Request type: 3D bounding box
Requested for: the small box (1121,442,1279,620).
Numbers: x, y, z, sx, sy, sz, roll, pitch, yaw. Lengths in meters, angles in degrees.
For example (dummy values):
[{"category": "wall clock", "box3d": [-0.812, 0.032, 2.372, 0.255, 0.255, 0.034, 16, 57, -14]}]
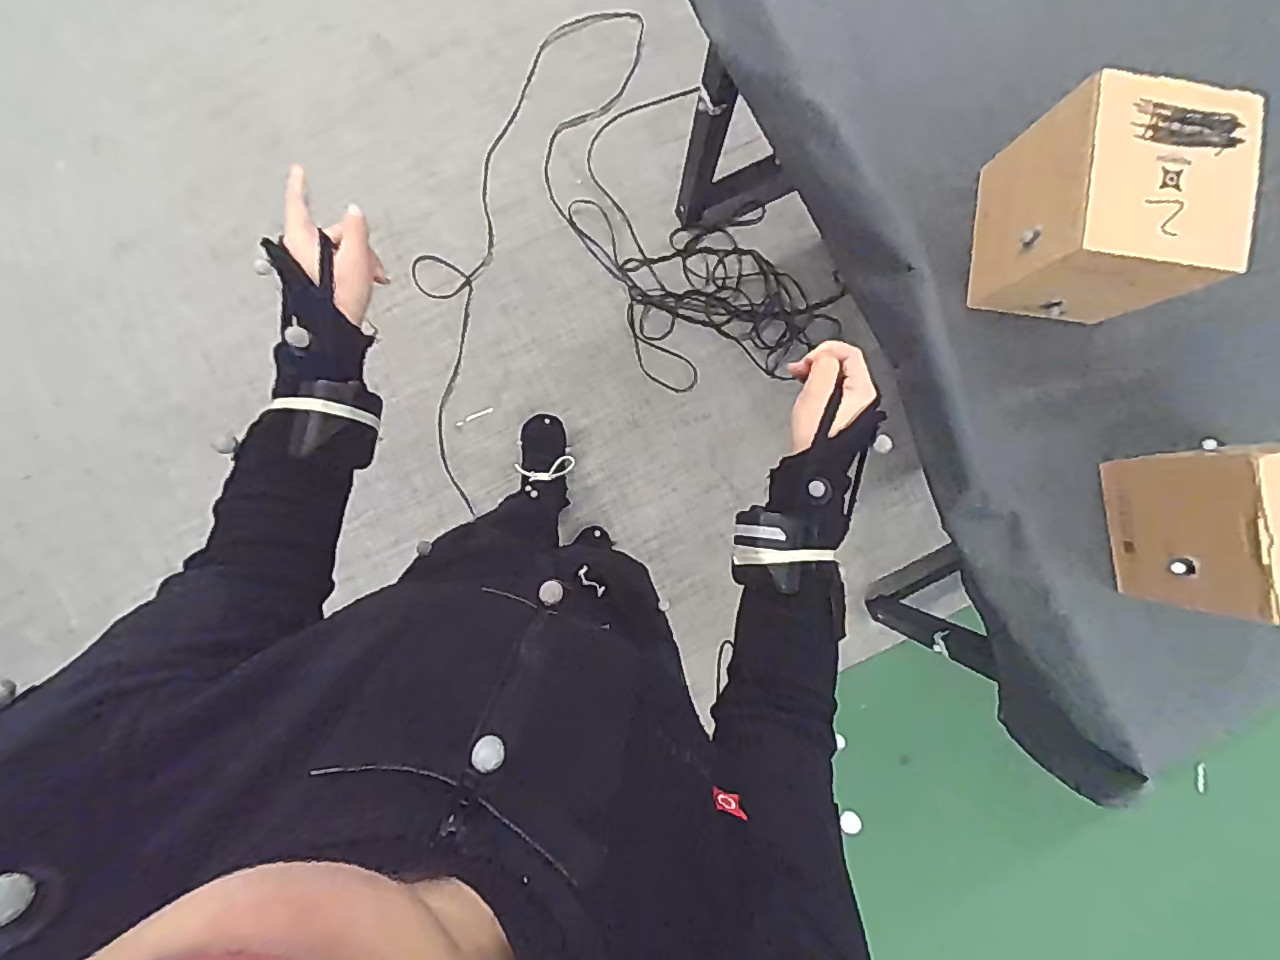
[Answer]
[{"category": "small box", "box3d": [0.670, 0.047, 0.583, 0.179, 0.176, 0.168, -8, 90, -4]}]
